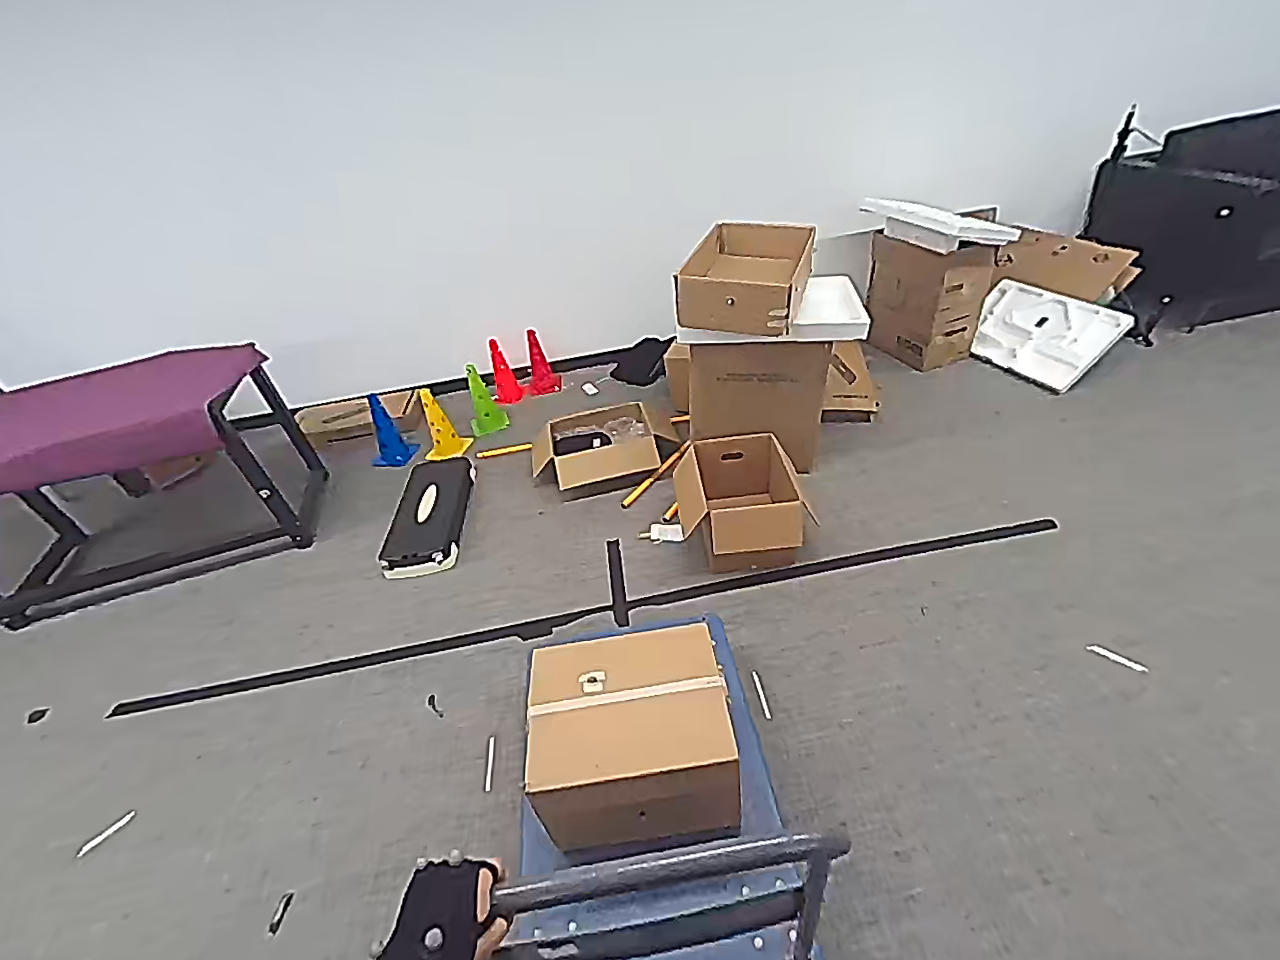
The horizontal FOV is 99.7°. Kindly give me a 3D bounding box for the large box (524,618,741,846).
[{"bbox_3d":[-0.012,0.555,1.197,0.408,0.320,0.320,-10,37,0],"label":"large box"}]
